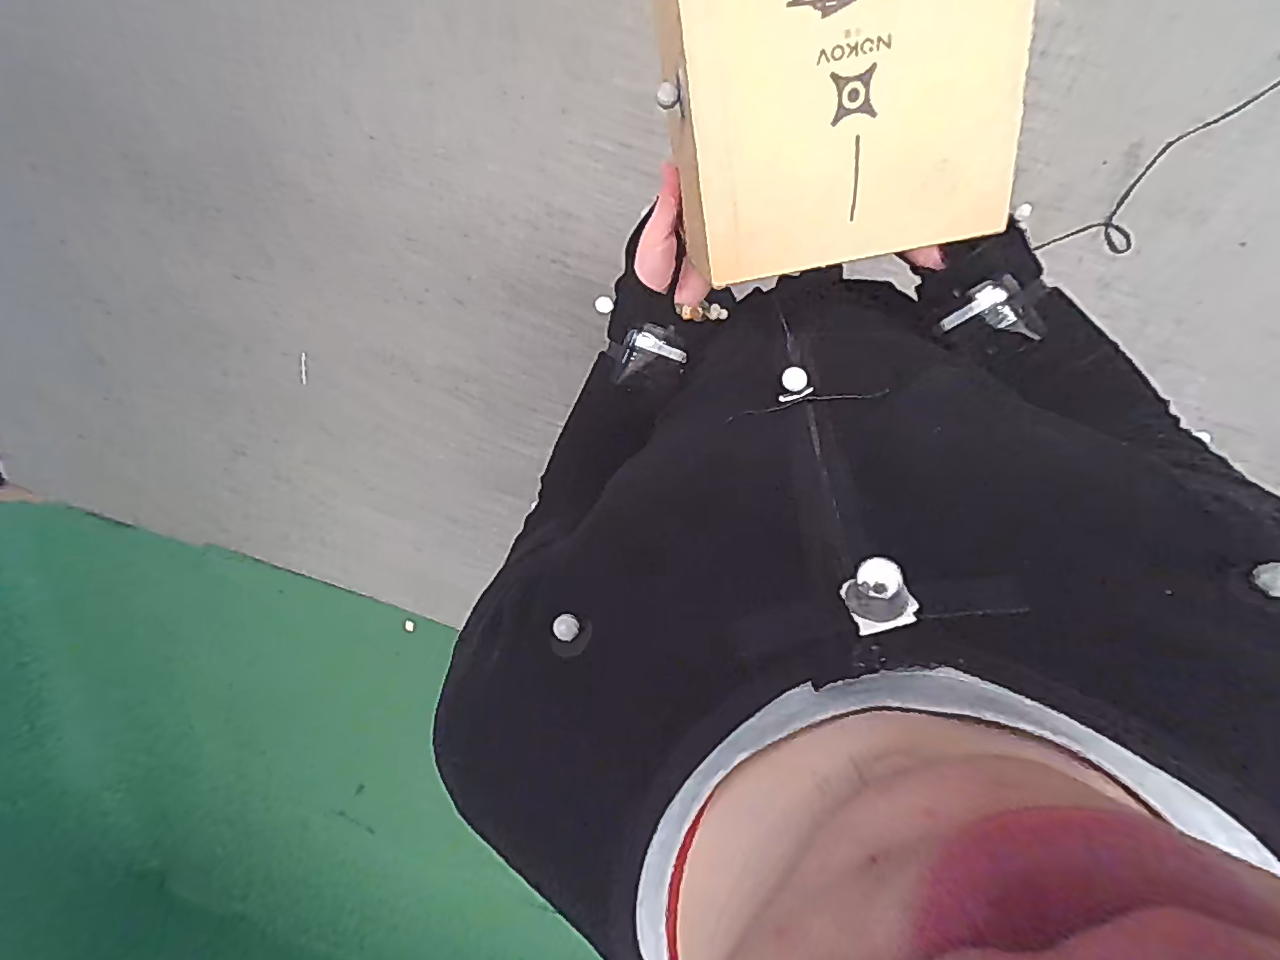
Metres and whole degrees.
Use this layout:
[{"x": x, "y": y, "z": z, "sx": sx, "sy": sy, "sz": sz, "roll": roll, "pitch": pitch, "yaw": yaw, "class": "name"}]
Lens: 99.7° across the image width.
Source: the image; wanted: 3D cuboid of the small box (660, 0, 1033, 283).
[{"x": 0.106, "y": -0.238, "z": 0.340, "sx": 0.168, "sy": 0.176, "sz": 0.179, "roll": -9, "pitch": 119, "yaw": 5, "class": "small box"}]
